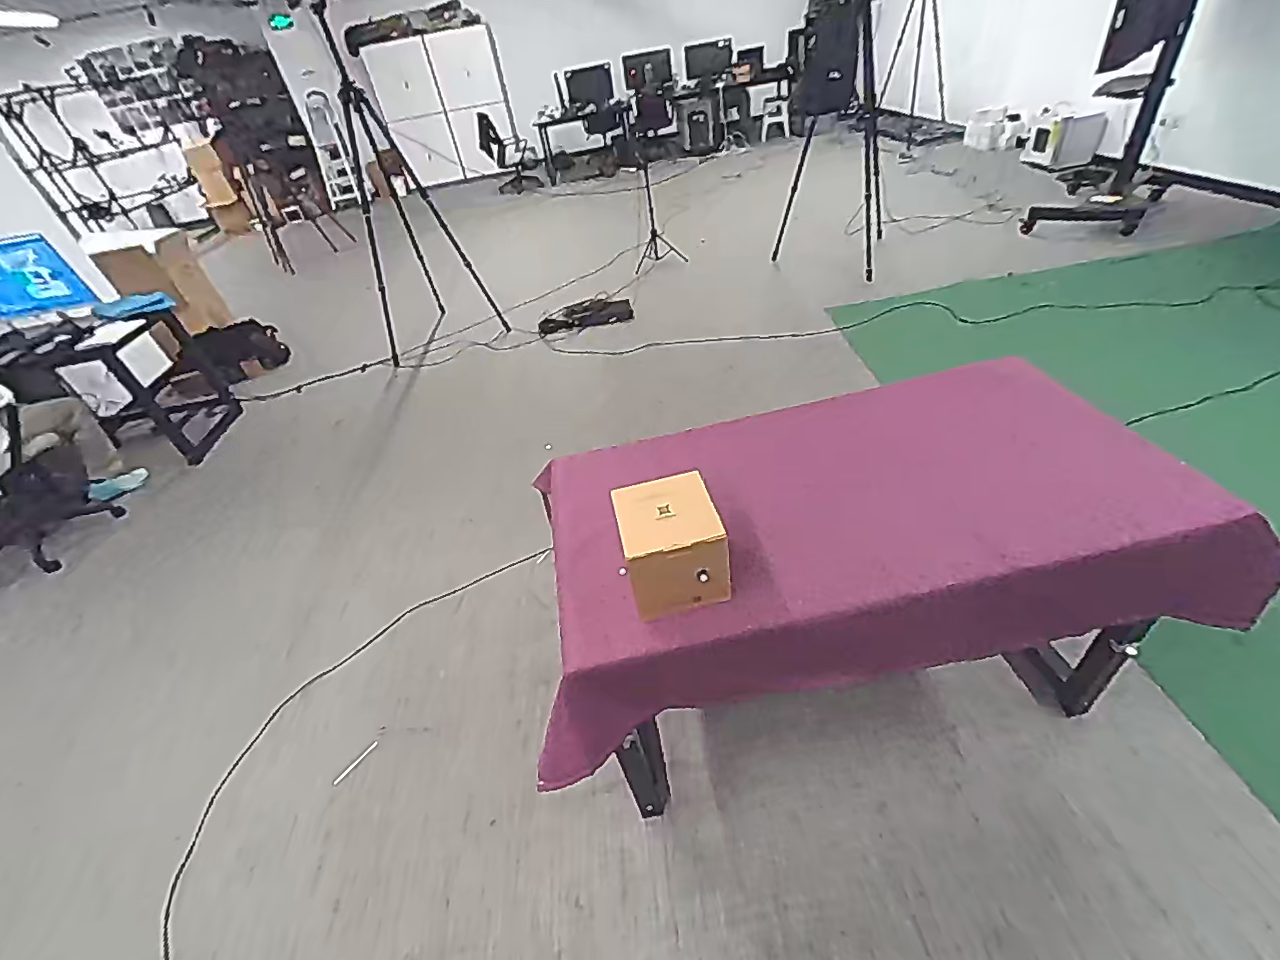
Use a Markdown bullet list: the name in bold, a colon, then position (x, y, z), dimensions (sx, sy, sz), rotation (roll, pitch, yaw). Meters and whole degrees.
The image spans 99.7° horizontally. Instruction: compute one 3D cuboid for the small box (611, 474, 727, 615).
- **small box**: position (0.052, 0.119, 0.962), dimensions (0.168, 0.176, 0.179), rotation (-12, 39, -3)
